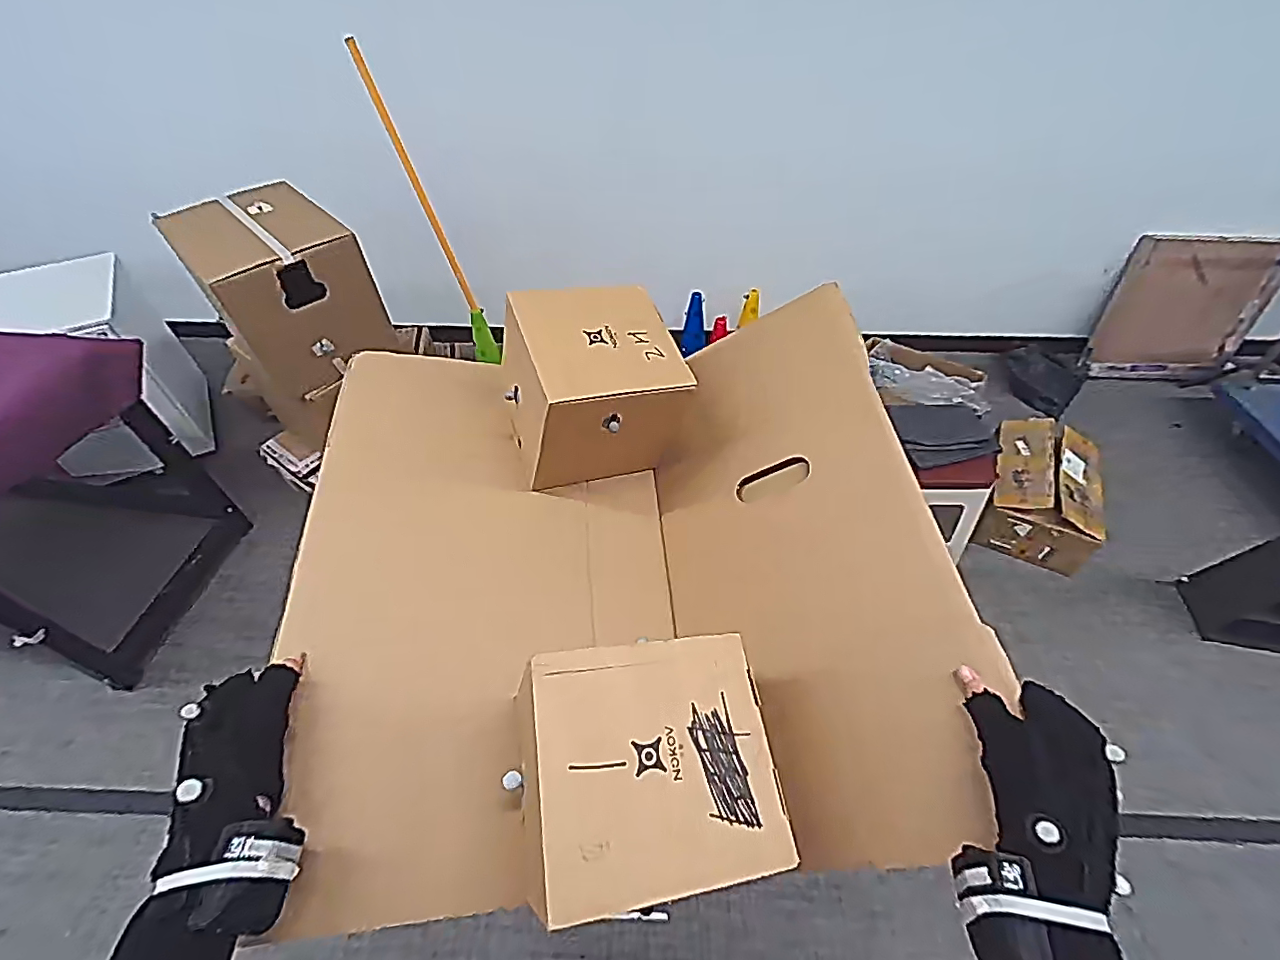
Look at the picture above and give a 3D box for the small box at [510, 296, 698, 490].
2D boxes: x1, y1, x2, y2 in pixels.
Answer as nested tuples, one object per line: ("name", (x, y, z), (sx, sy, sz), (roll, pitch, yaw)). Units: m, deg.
("small box", (-0.059, -0.103, 0.667), (0.179, 0.176, 0.168), (-10, 62, -24))
